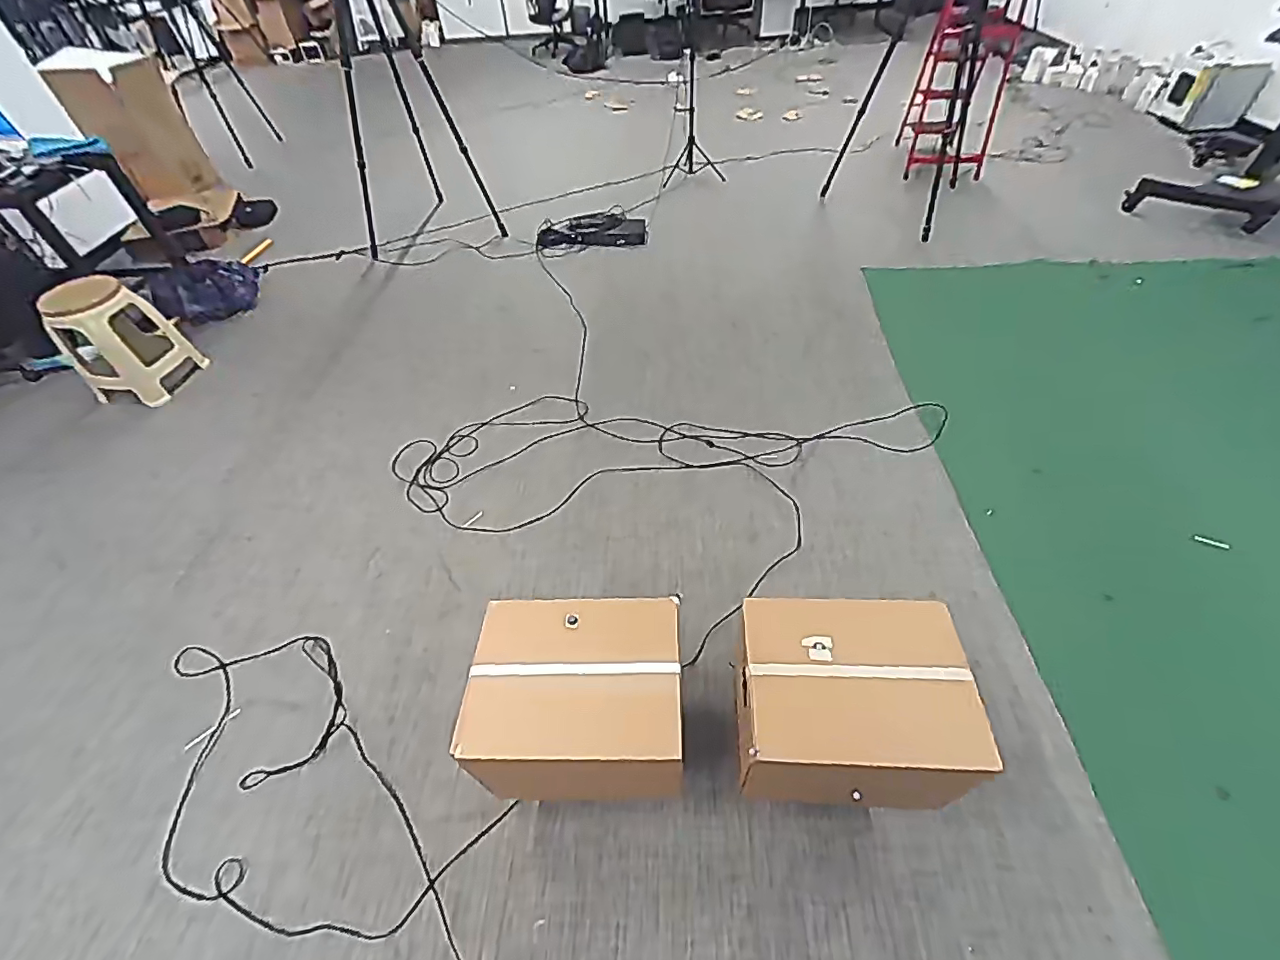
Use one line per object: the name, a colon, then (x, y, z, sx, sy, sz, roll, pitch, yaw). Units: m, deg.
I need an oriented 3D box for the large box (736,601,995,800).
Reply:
large box: (0.419, 0.462, 1.127, 0.408, 0.320, 0.320, 0, 48, 6)
